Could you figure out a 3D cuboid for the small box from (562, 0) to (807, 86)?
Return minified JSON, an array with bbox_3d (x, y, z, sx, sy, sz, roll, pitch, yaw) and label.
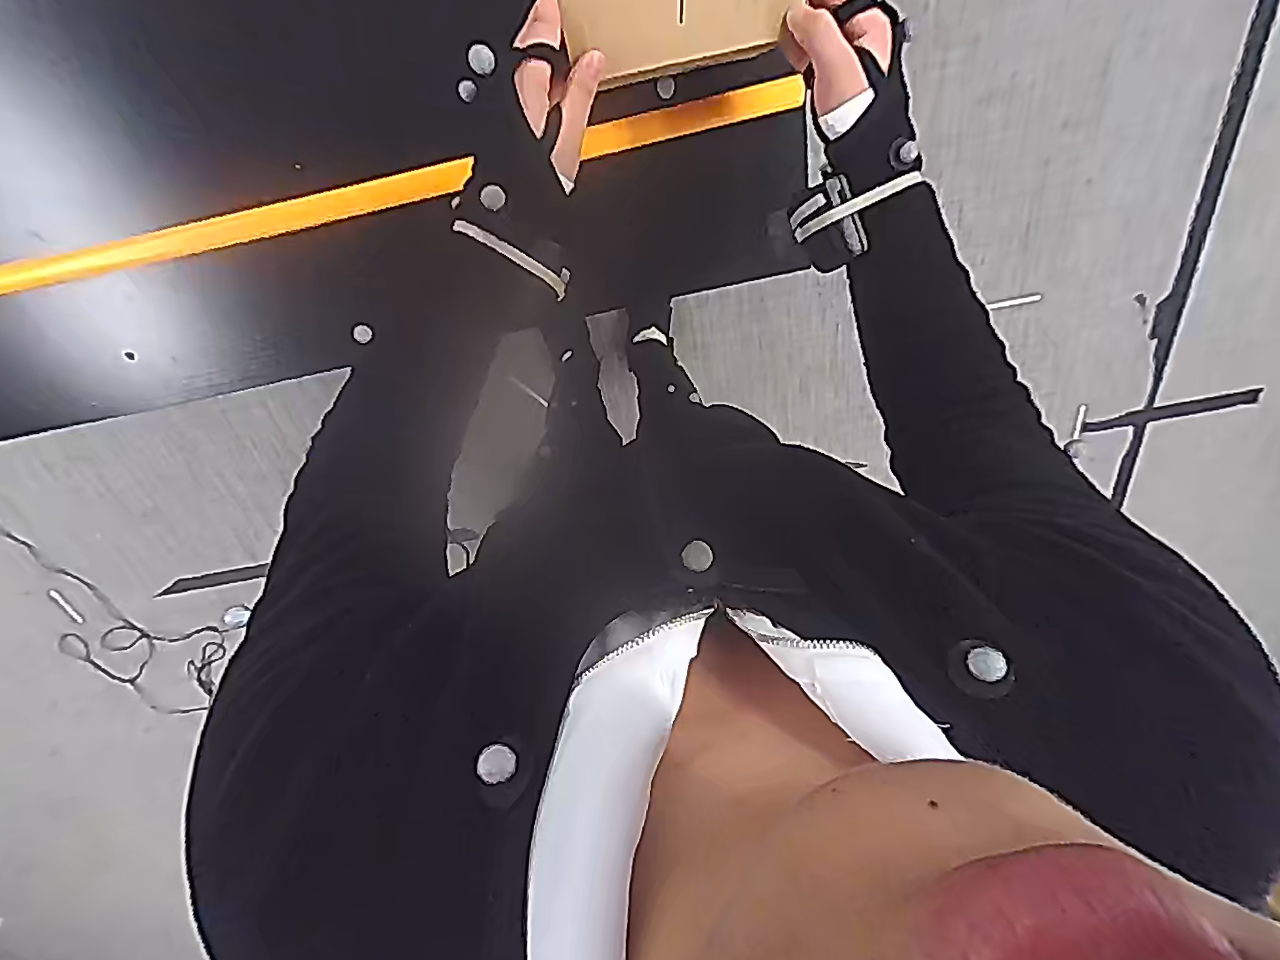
[{"bbox_3d":[0.016,-0.412,0.396,0.168,0.176,0.179,-10,124,3],"label":"small box"}]
